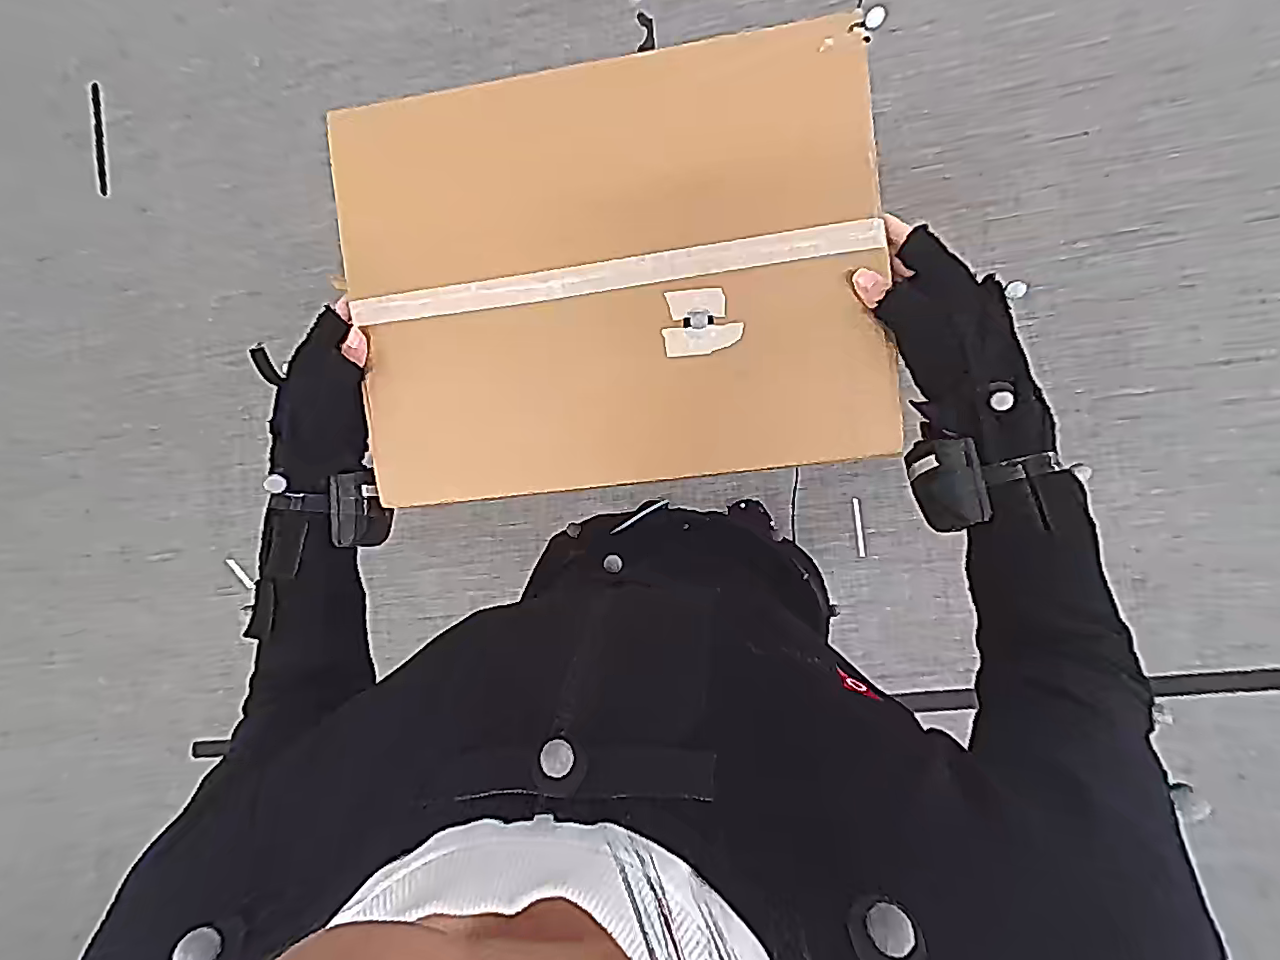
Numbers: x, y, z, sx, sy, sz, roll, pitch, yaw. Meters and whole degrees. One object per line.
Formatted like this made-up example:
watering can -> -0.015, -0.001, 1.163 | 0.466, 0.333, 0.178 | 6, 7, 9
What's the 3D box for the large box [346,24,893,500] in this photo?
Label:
large box -> -0.012, -0.167, 0.568 | 0.408, 0.320, 0.320 | -7, 93, 5
